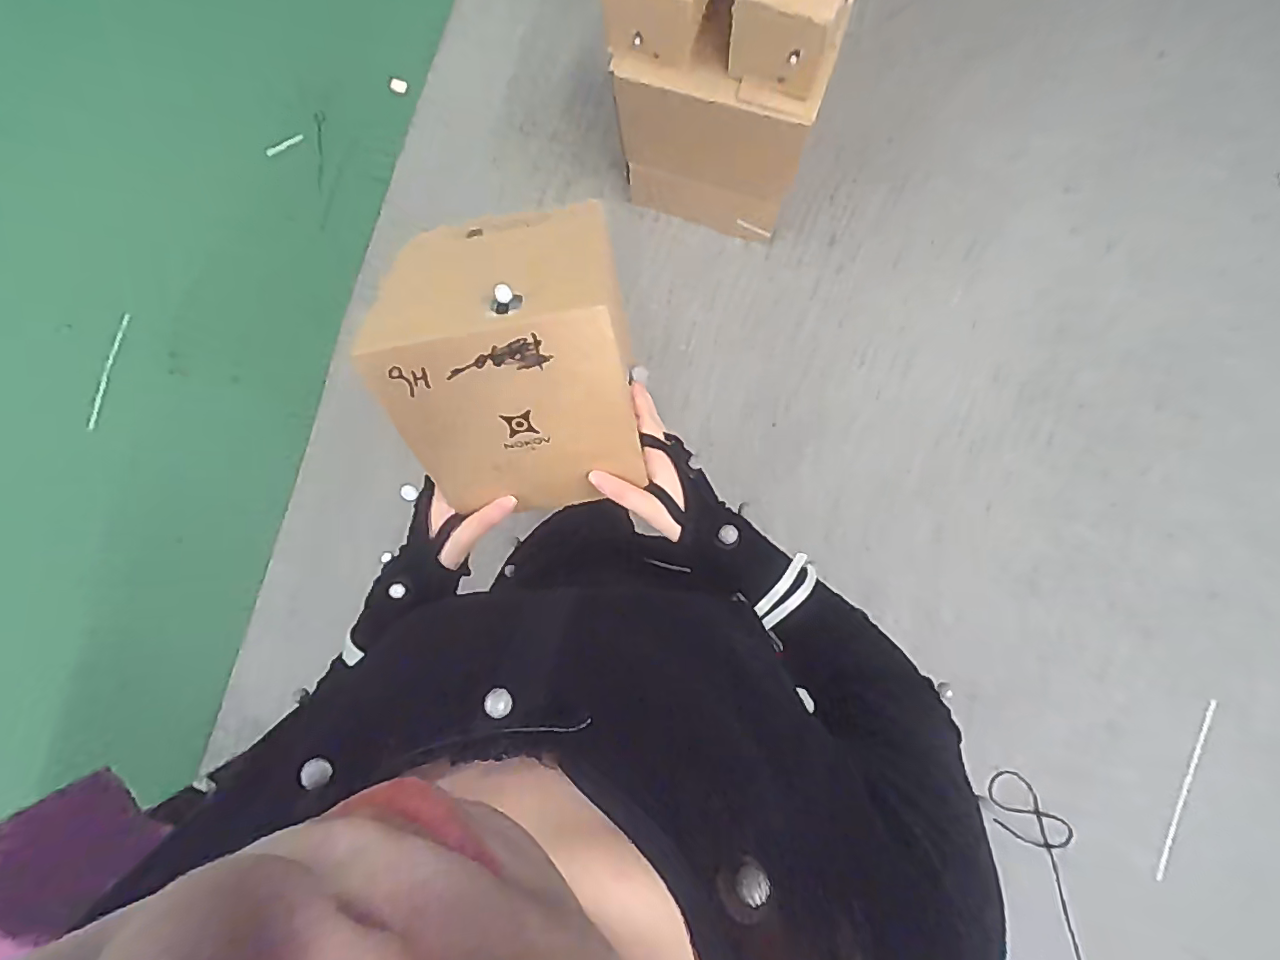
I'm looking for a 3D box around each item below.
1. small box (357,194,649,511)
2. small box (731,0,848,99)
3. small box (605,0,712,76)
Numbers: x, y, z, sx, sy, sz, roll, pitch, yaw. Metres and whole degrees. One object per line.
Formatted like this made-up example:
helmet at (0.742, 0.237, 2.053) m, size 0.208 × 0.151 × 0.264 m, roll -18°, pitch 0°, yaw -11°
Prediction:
small box at (-0.088, -0.101, 0.444) m, size 0.168 × 0.179 × 0.176 m, roll -9°, pitch 48°, yaw 4°
small box at (0.265, -0.816, 0.939) m, size 0.168 × 0.176 × 0.179 m, roll 22°, pitch 89°, yaw 5°
small box at (0.037, -0.878, 0.958) m, size 0.168 × 0.176 × 0.179 m, roll 19°, pitch 92°, yaw 3°
